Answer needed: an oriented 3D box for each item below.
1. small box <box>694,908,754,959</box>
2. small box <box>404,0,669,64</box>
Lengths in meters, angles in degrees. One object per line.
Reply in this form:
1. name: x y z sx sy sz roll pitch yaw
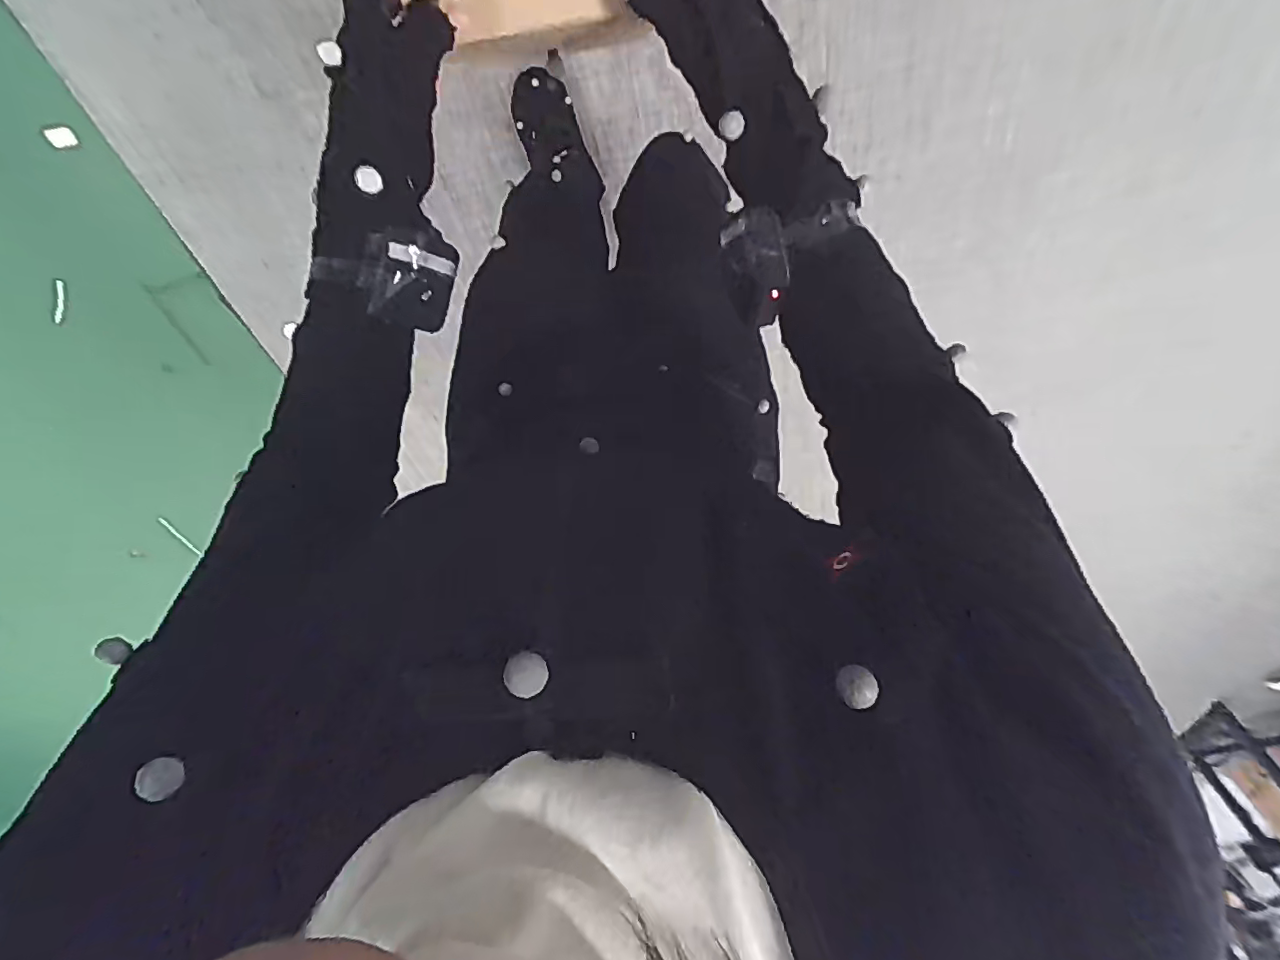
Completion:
1. small box: 0.285 1.554 1.804 0.168 0.176 0.179 -14 131 4
2. small box: -0.084 -0.416 0.386 0.179 0.176 0.168 -10 124 0
